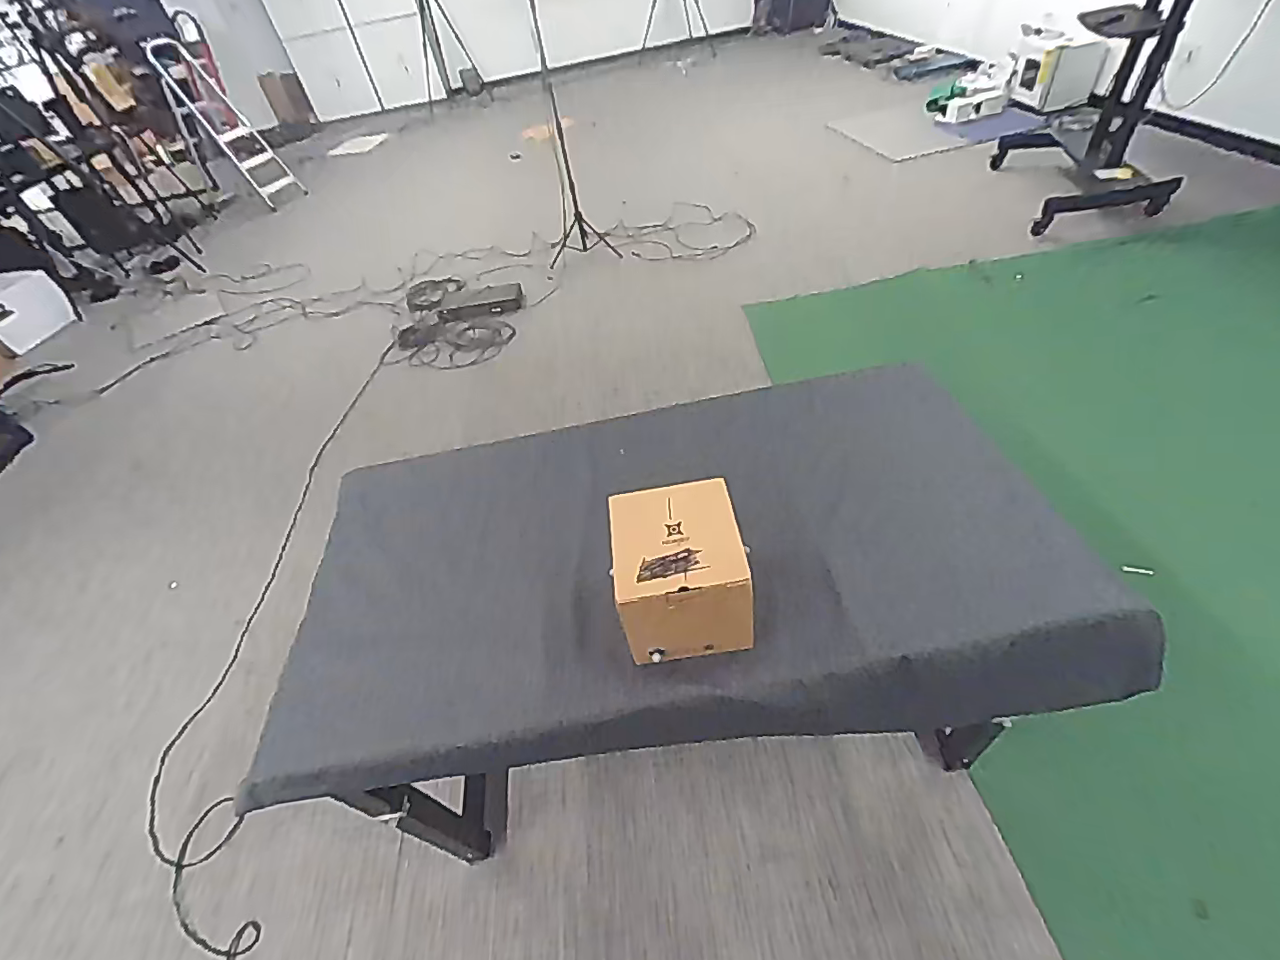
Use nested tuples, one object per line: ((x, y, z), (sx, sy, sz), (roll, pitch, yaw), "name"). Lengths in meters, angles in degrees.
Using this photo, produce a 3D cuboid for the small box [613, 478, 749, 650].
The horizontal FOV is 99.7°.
((0.058, 0.124, 0.764), (0.168, 0.176, 0.179), (-8, 45, 3), "small box")
